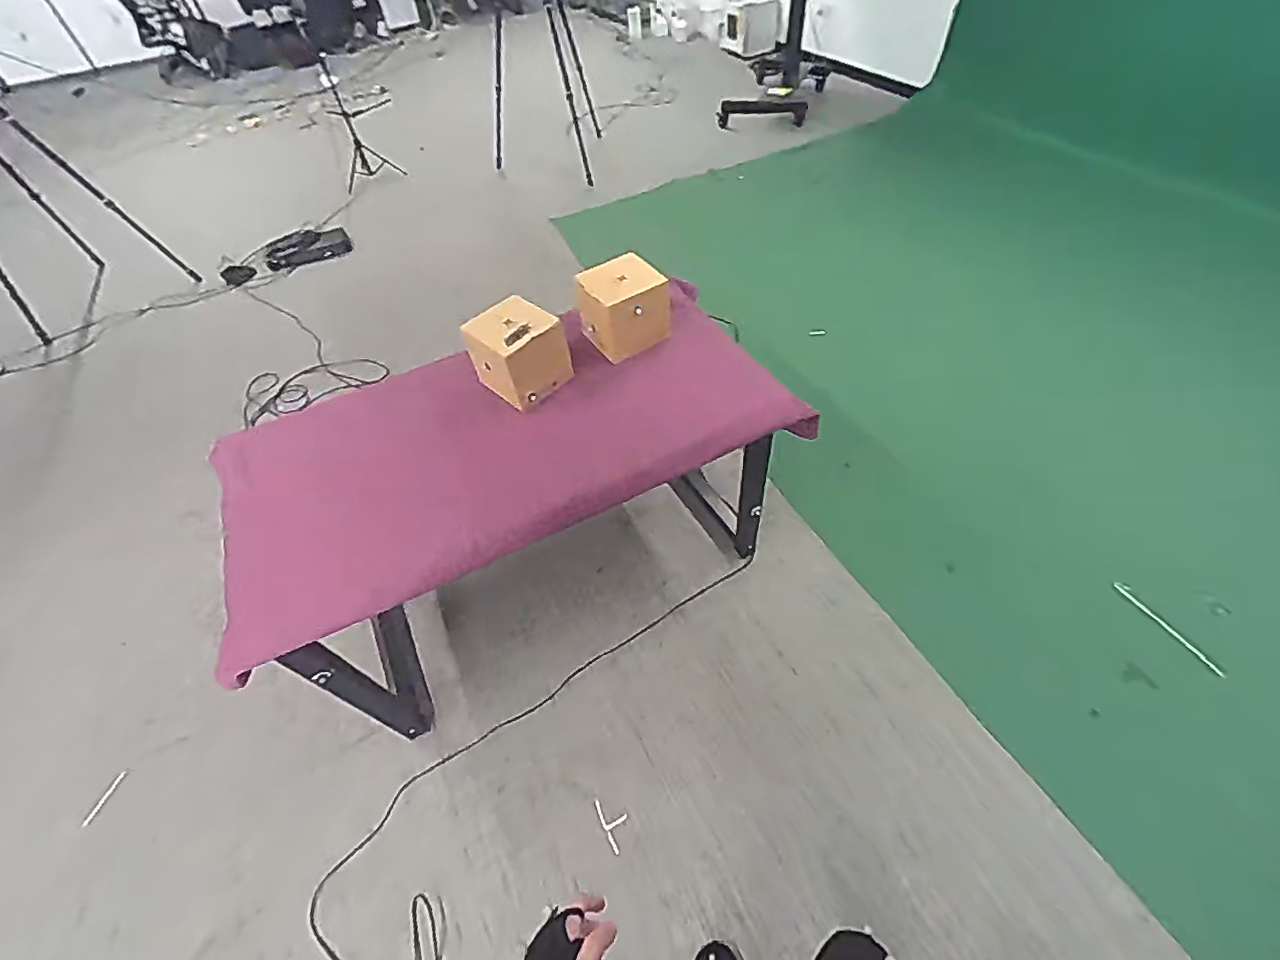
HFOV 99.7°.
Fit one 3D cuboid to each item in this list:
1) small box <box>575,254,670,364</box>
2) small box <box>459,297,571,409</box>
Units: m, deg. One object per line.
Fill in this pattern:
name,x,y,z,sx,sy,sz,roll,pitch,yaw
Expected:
small box,-0.039,-0.425,1.353,0.179,0.176,0.168,-30,55,-15
small box,-0.286,-0.293,1.274,0.179,0.176,0.168,35,63,28
